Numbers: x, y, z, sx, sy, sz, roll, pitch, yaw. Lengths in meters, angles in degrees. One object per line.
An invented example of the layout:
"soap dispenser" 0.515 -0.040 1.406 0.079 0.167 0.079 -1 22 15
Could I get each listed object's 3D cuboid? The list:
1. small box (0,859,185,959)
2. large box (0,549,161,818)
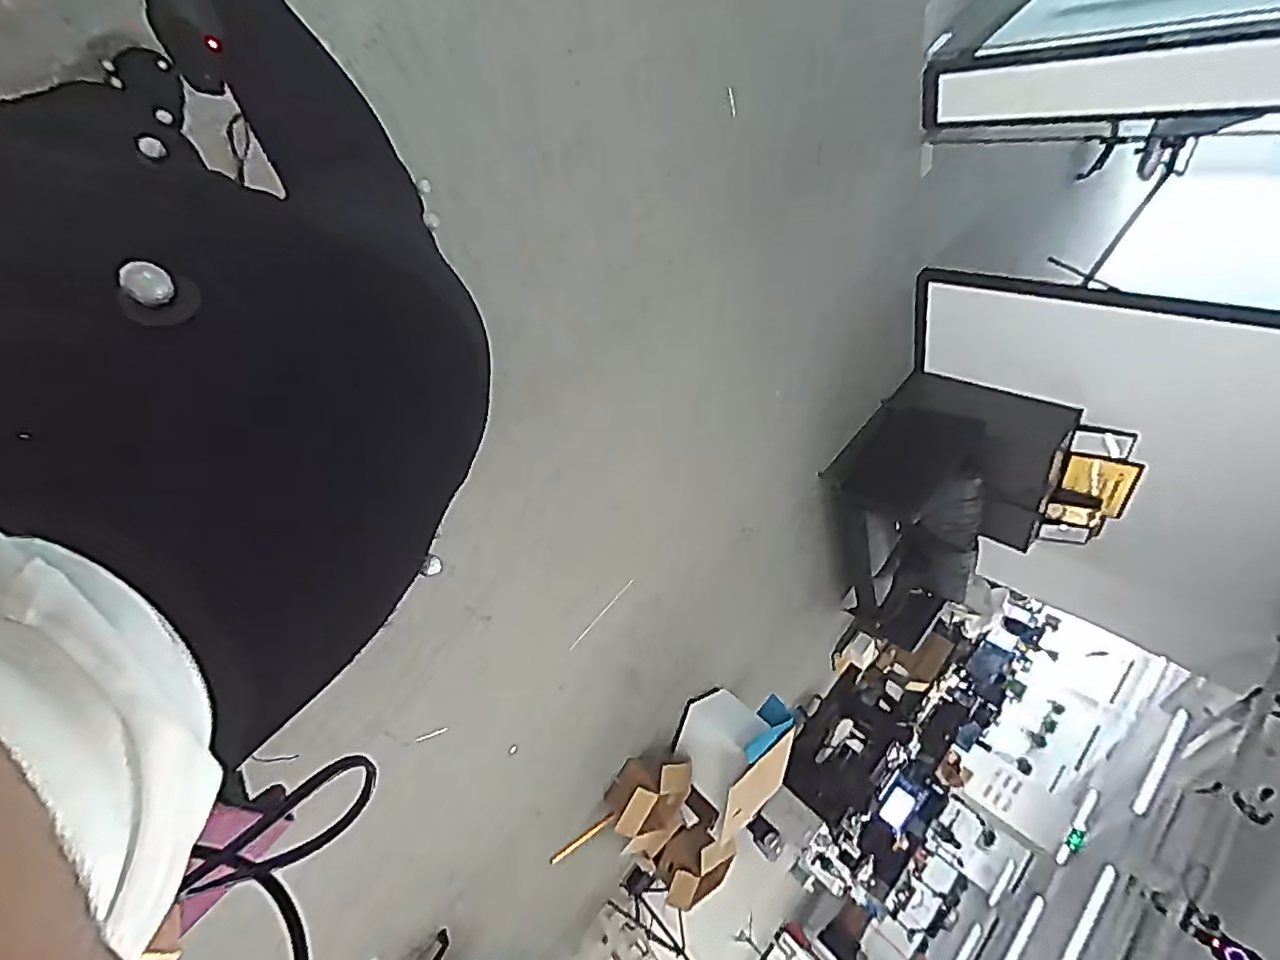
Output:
"small box" -0.850 0.720 0.819 0.179 0.176 0.168 -45 137 -14
"large box" -1.357 0.430 1.157 0.408 0.320 0.320 -45 137 -16
